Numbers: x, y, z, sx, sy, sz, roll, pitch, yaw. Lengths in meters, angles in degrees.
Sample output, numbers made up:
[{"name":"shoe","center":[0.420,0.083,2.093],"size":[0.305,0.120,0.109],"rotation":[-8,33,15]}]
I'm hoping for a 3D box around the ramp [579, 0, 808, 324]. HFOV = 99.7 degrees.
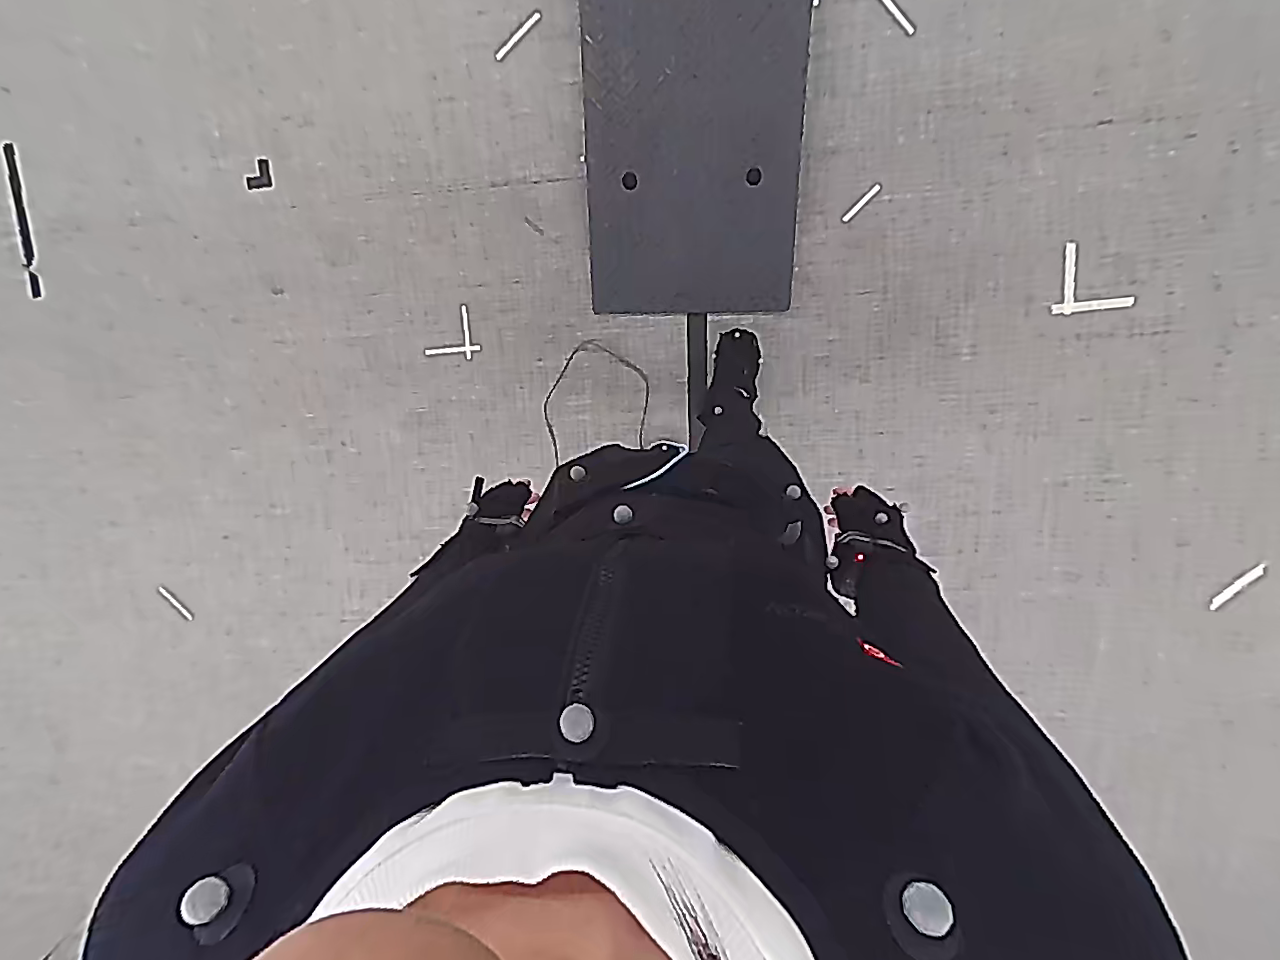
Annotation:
[{"name":"ramp","center":[0.120,-0.876,1.206],"size":[0.509,0.206,0.991],"rotation":[-2,99,6]}]
